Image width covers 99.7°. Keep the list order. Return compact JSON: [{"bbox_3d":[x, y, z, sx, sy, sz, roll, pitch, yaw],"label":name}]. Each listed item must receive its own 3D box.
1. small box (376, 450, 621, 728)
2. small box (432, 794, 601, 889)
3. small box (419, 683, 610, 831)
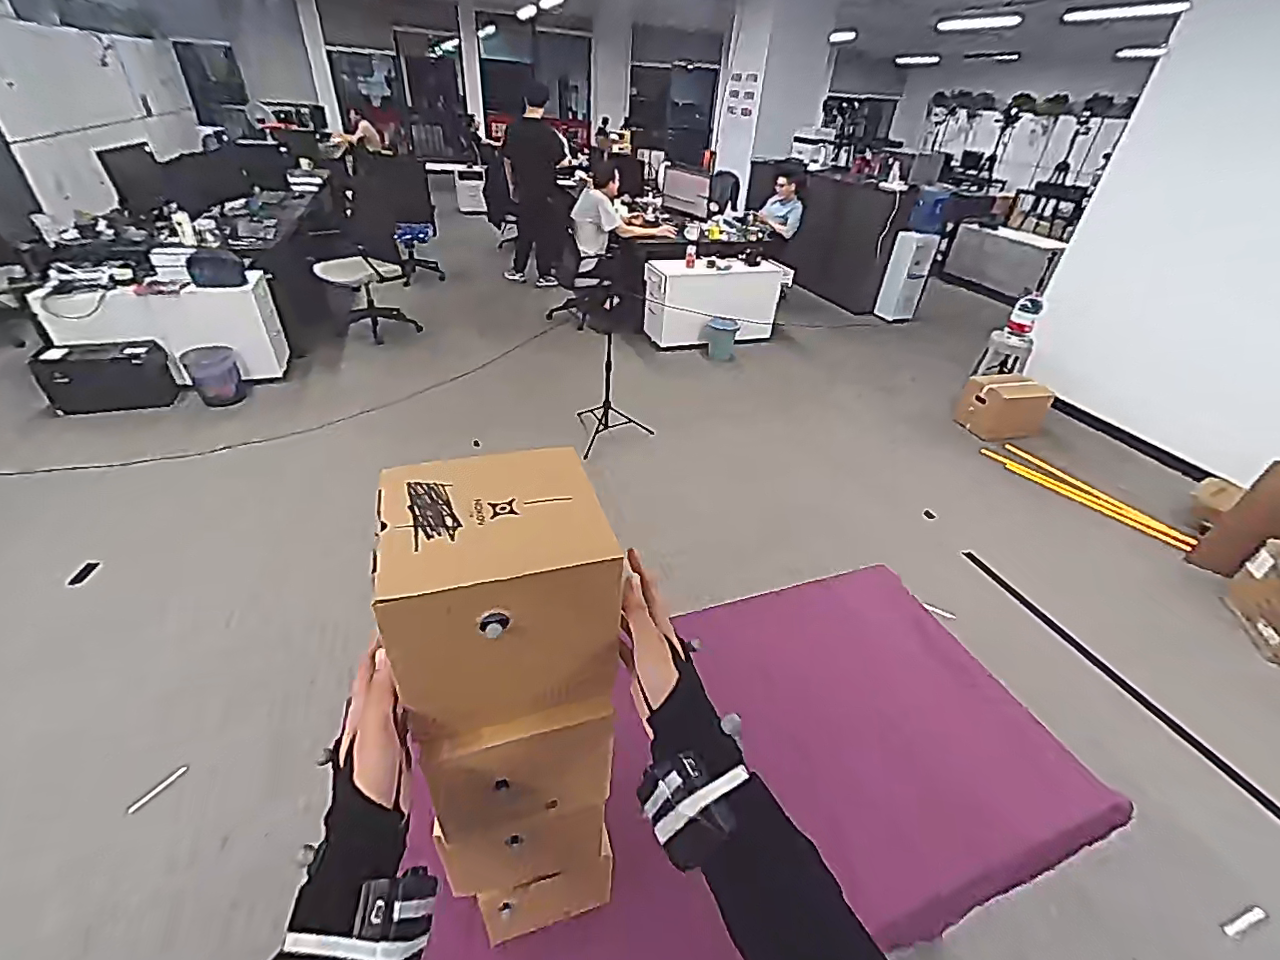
[{"bbox_3d":[-0.124,0.092,0.490,0.179,0.176,0.168,-8,36,-18],"label":"small box"},{"bbox_3d":[-0.144,0.367,0.666,0.179,0.176,0.168,-4,36,-12],"label":"small box"},{"bbox_3d":[-0.131,0.236,0.571,0.168,0.176,0.179,-8,36,-17],"label":"small box"}]
